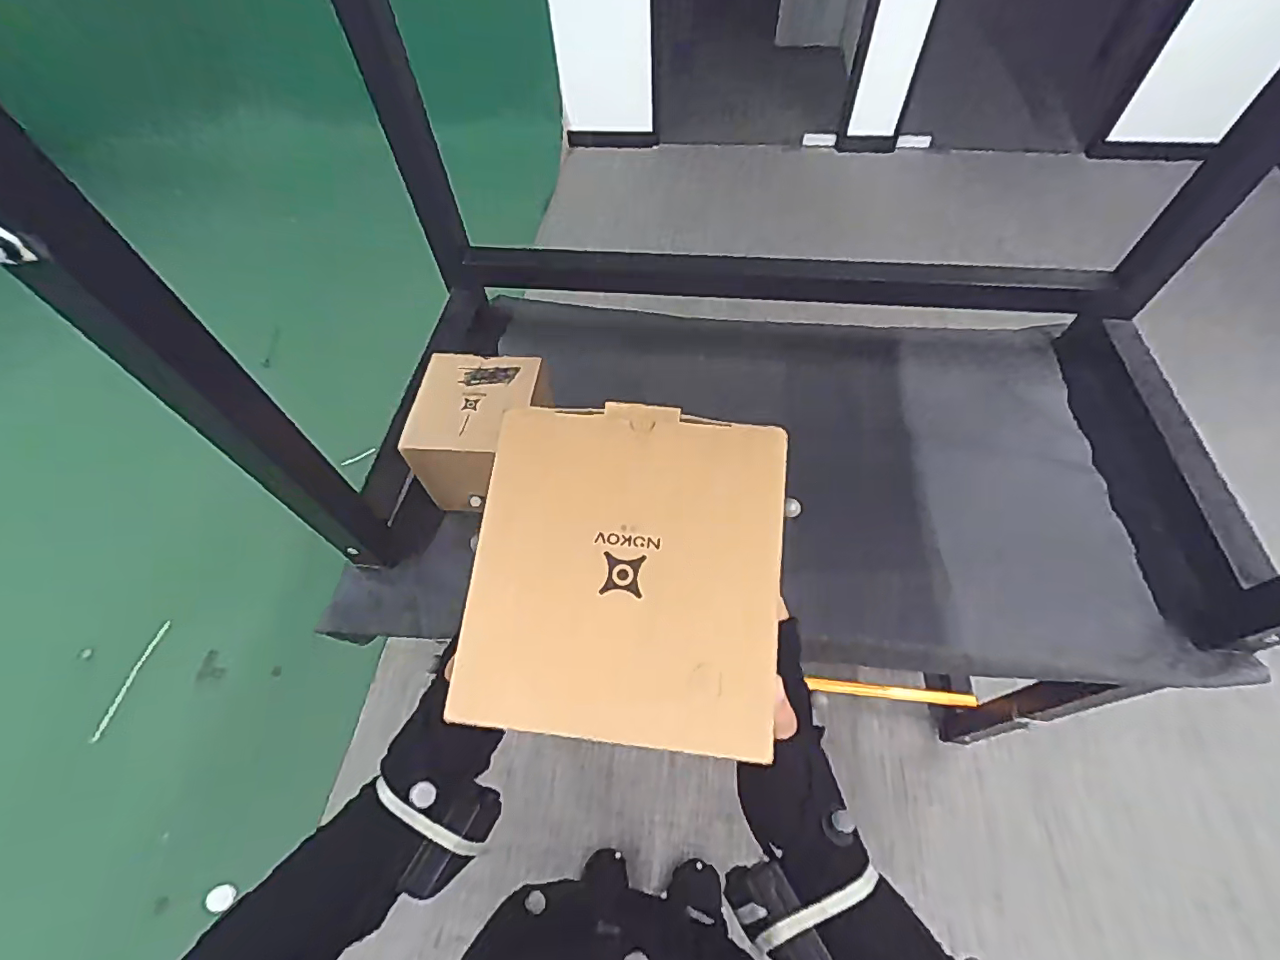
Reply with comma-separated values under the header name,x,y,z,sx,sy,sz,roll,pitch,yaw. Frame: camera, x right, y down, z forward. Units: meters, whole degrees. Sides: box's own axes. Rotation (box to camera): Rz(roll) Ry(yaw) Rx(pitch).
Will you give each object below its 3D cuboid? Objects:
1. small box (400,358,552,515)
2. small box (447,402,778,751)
name,x,y,z,sx,sy,sz,roll,pitch,yaw
small box,-0.227,-0.060,0.816,0.168,0.176,0.179,3,57,4
small box,-0.005,0.065,0.368,0.168,0.176,0.179,4,73,5
